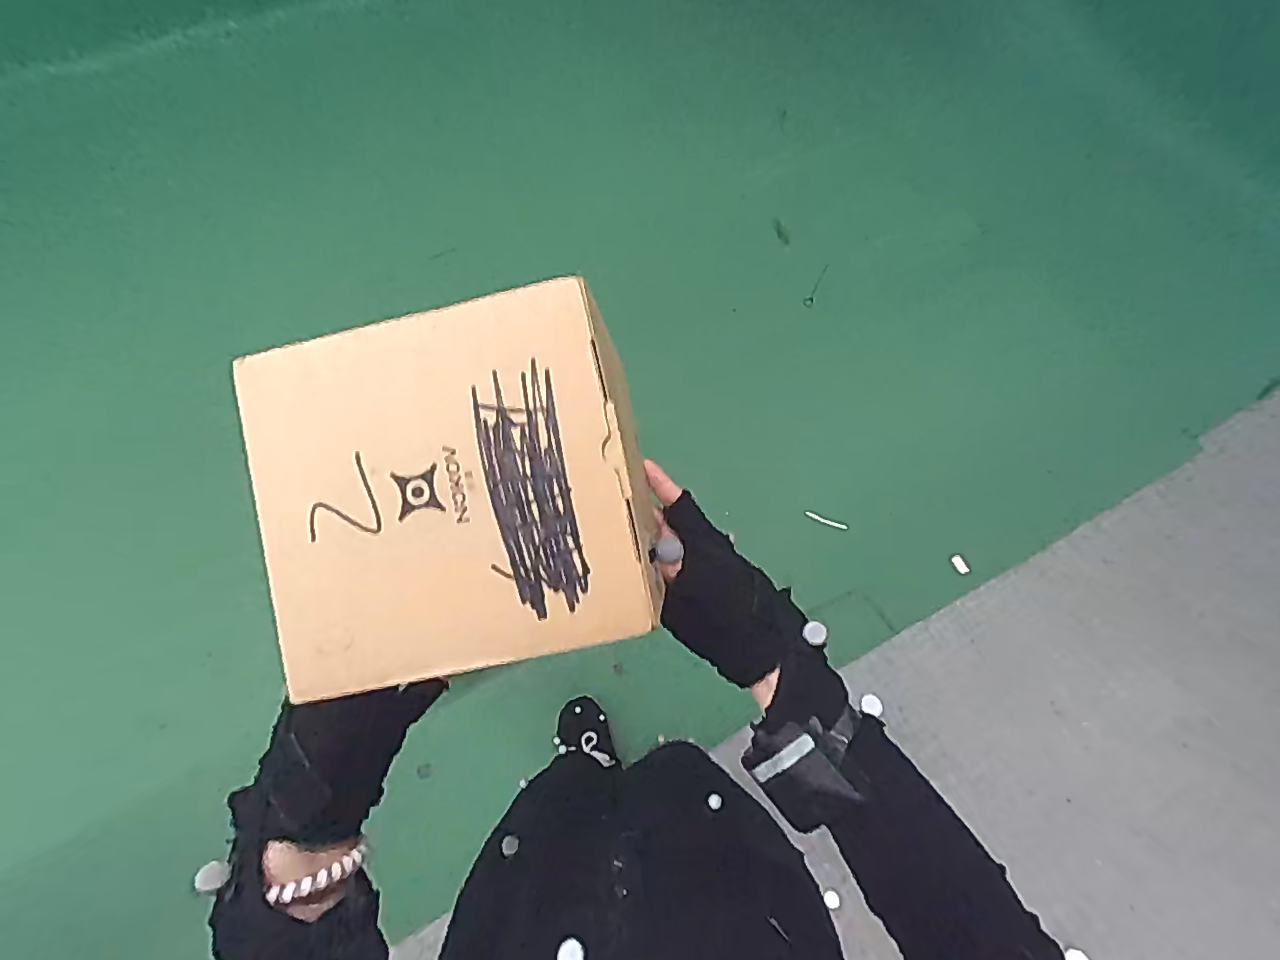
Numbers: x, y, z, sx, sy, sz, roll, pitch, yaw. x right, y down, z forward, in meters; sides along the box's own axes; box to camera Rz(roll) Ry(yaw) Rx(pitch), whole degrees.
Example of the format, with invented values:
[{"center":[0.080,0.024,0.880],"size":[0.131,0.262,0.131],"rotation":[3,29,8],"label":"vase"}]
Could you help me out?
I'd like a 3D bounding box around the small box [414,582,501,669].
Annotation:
[{"center":[-0.445,0.337,1.288],"size":[0.168,0.176,0.179],"rotation":[-21,70,-10],"label":"small box"}]
